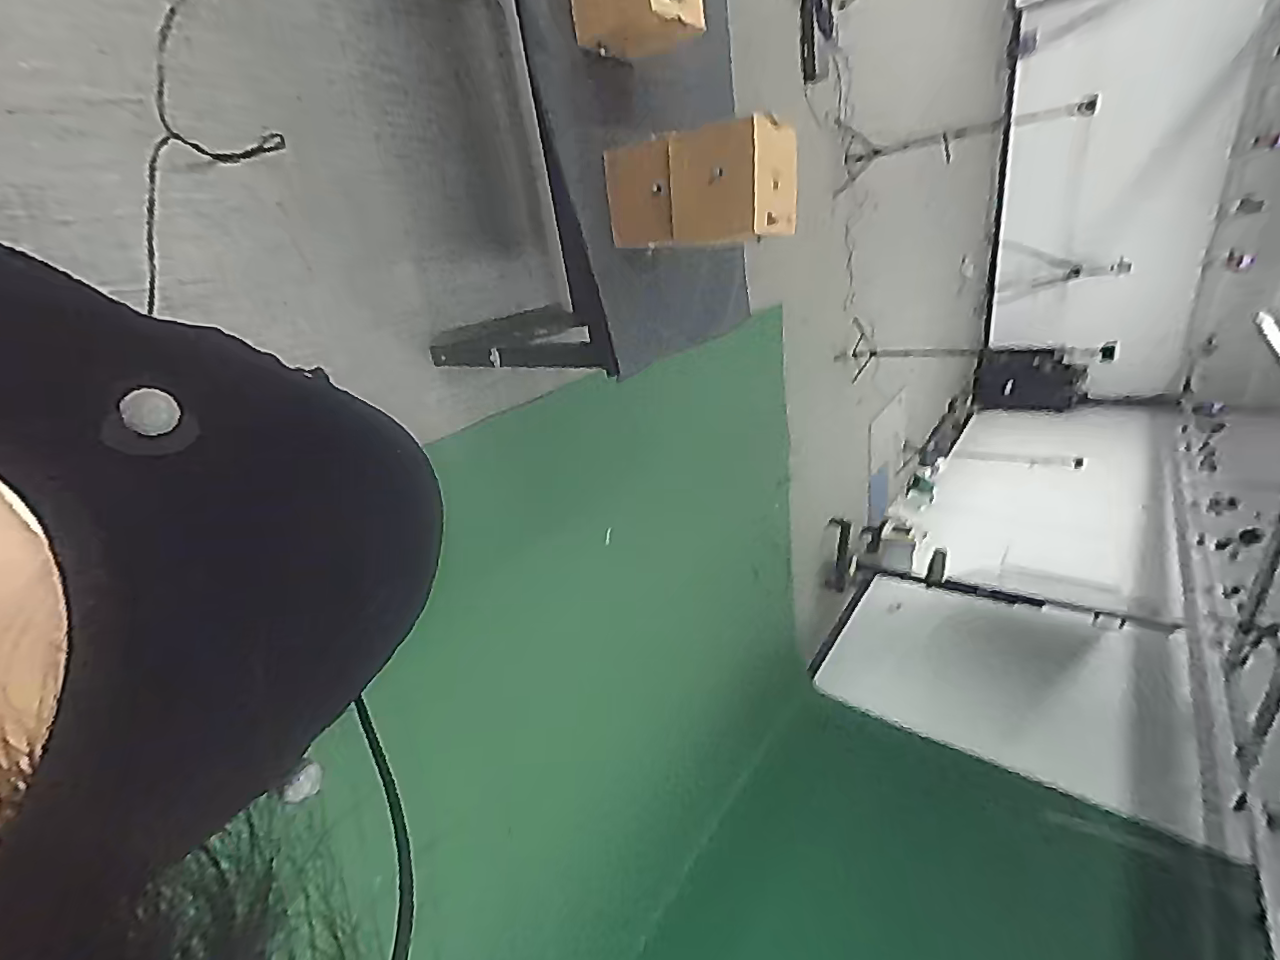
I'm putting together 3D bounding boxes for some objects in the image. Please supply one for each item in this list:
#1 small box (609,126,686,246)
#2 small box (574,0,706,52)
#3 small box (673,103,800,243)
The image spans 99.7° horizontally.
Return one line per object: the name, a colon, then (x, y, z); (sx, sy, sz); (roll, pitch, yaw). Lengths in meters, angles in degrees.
small box: (0.054, -0.571, 1.071); (0.168, 0.176, 0.179); (-29, 121, -44)
small box: (-0.009, -0.871, 0.923); (0.168, 0.176, 0.179); (-33, 121, -44)
small box: (0.172, -0.531, 0.963); (0.168, 0.176, 0.179); (-25, 117, -46)
